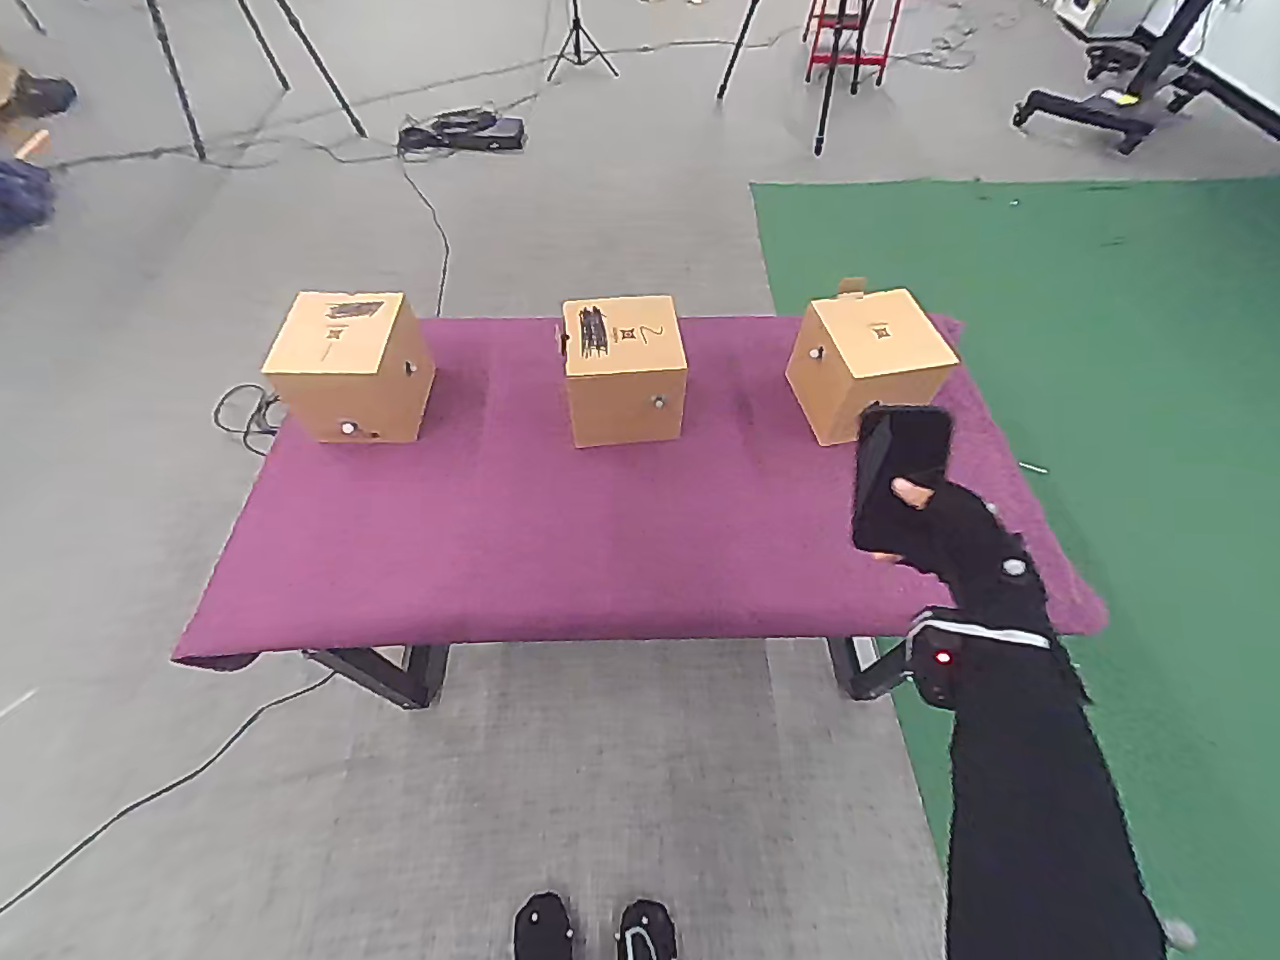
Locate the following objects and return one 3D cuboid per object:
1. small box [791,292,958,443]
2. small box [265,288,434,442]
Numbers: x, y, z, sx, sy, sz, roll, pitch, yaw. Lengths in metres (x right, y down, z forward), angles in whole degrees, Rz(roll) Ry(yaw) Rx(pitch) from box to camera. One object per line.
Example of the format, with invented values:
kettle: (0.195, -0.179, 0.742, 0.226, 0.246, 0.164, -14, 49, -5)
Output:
small box: (0.366, -0.176, 0.884, 0.168, 0.176, 0.179, -9, 57, -6)
small box: (-0.448, -0.183, 0.871, 0.168, 0.176, 0.179, 1, 58, 0)
